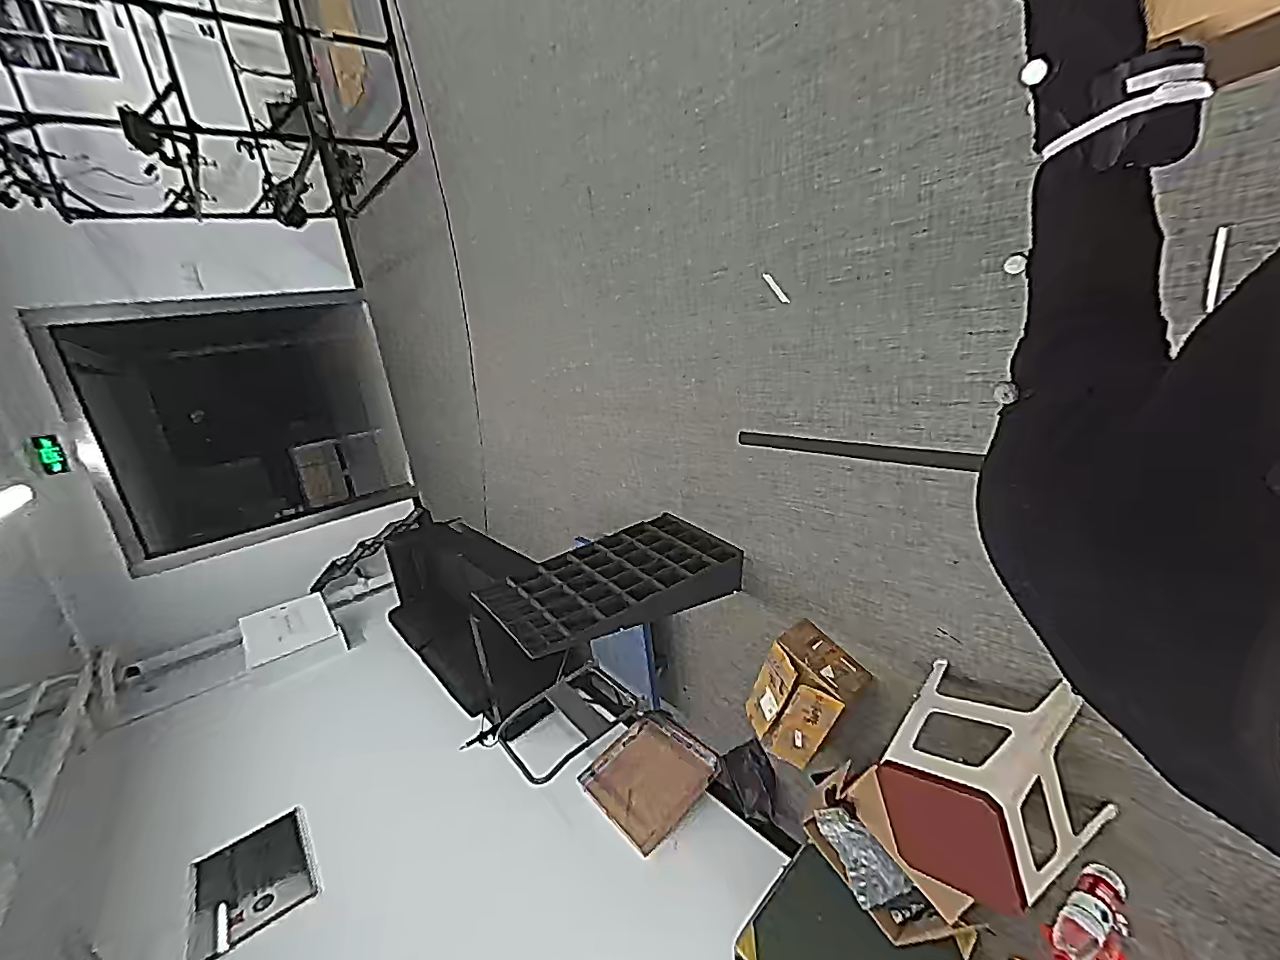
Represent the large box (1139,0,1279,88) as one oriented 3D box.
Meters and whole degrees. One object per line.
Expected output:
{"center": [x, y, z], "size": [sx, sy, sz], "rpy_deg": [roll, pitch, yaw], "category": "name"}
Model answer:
{"center": [0.549, -0.488, 0.281], "size": [0.408, 0.320, 0.320], "rpy_deg": [3, 113, 51], "category": "large box"}
